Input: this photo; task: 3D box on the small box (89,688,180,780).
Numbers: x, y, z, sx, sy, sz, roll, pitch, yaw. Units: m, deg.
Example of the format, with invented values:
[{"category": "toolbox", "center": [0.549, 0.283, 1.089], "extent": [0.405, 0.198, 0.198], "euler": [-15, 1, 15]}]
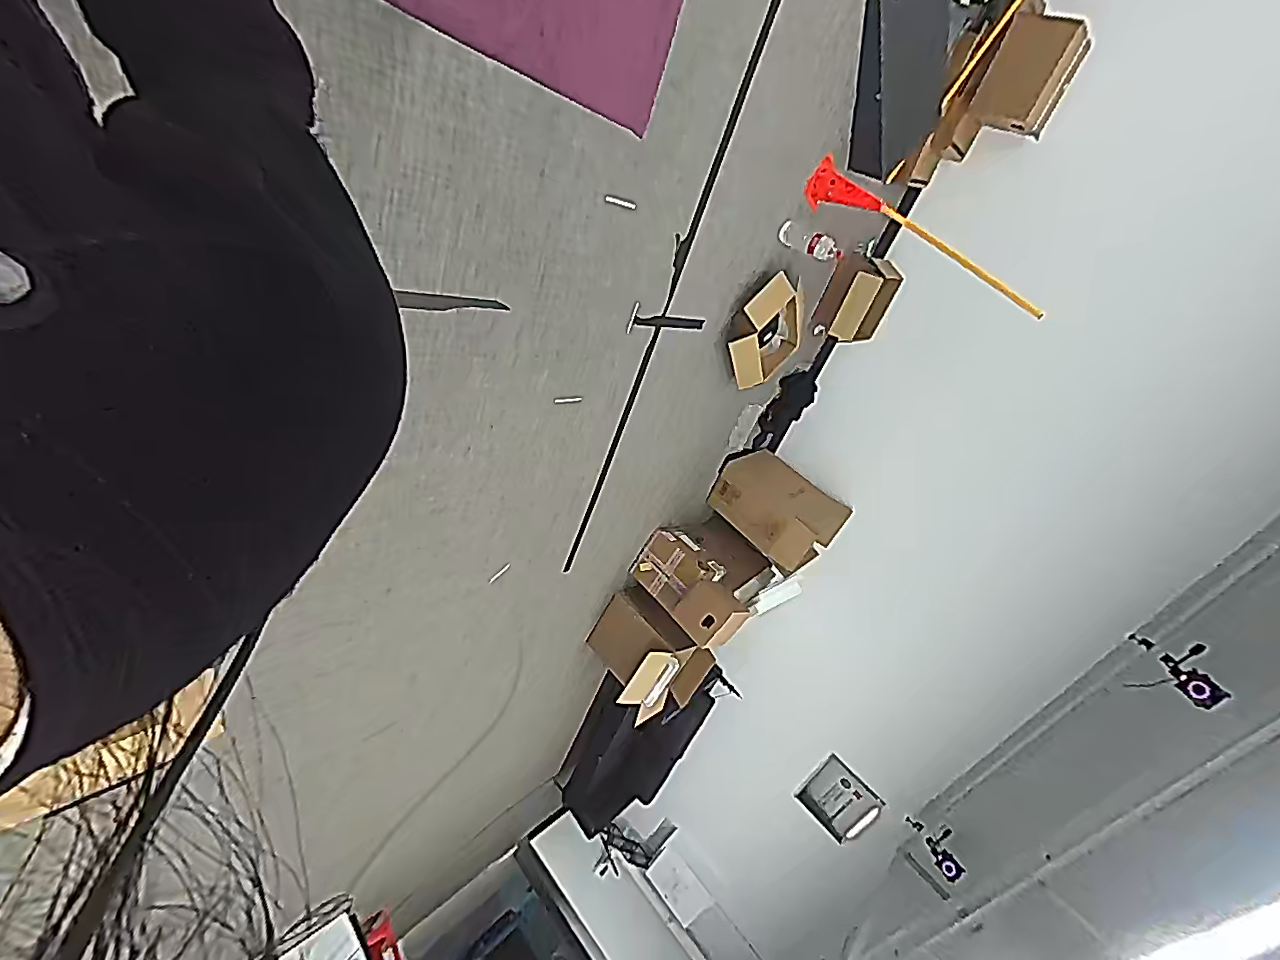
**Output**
[{"category": "small box", "center": [-1.576, 0.781, 1.688], "extent": [0.168, 0.176, 0.179], "euler": [-19, 139, -44]}]
